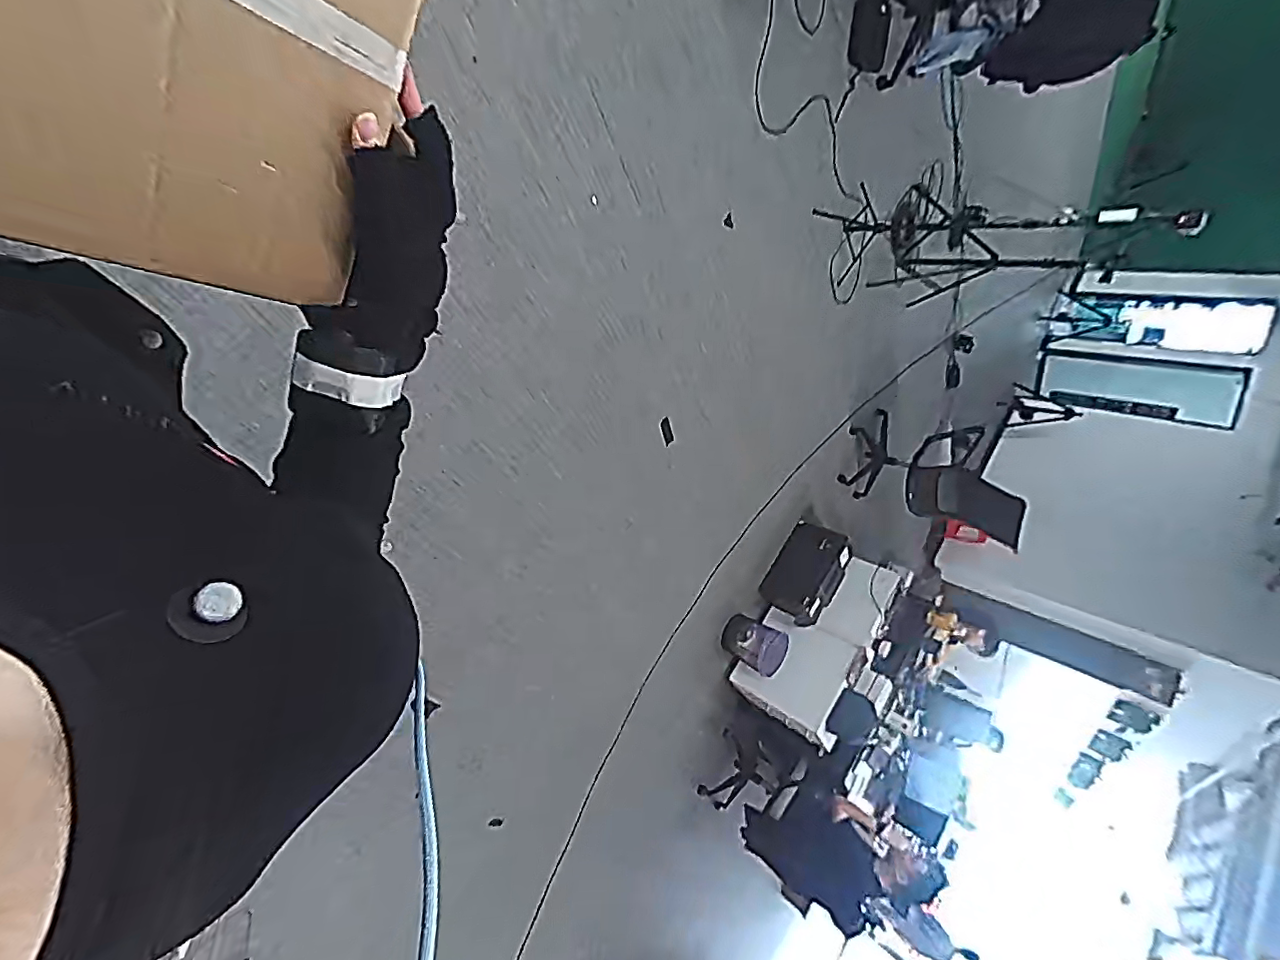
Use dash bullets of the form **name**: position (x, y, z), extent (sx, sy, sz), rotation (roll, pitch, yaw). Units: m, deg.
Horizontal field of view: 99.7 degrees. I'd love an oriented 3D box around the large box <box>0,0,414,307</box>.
- **large box**: position (-0.371, -0.335, 0.264), extent (0.408, 0.320, 0.320), rotation (2, 127, -47)
